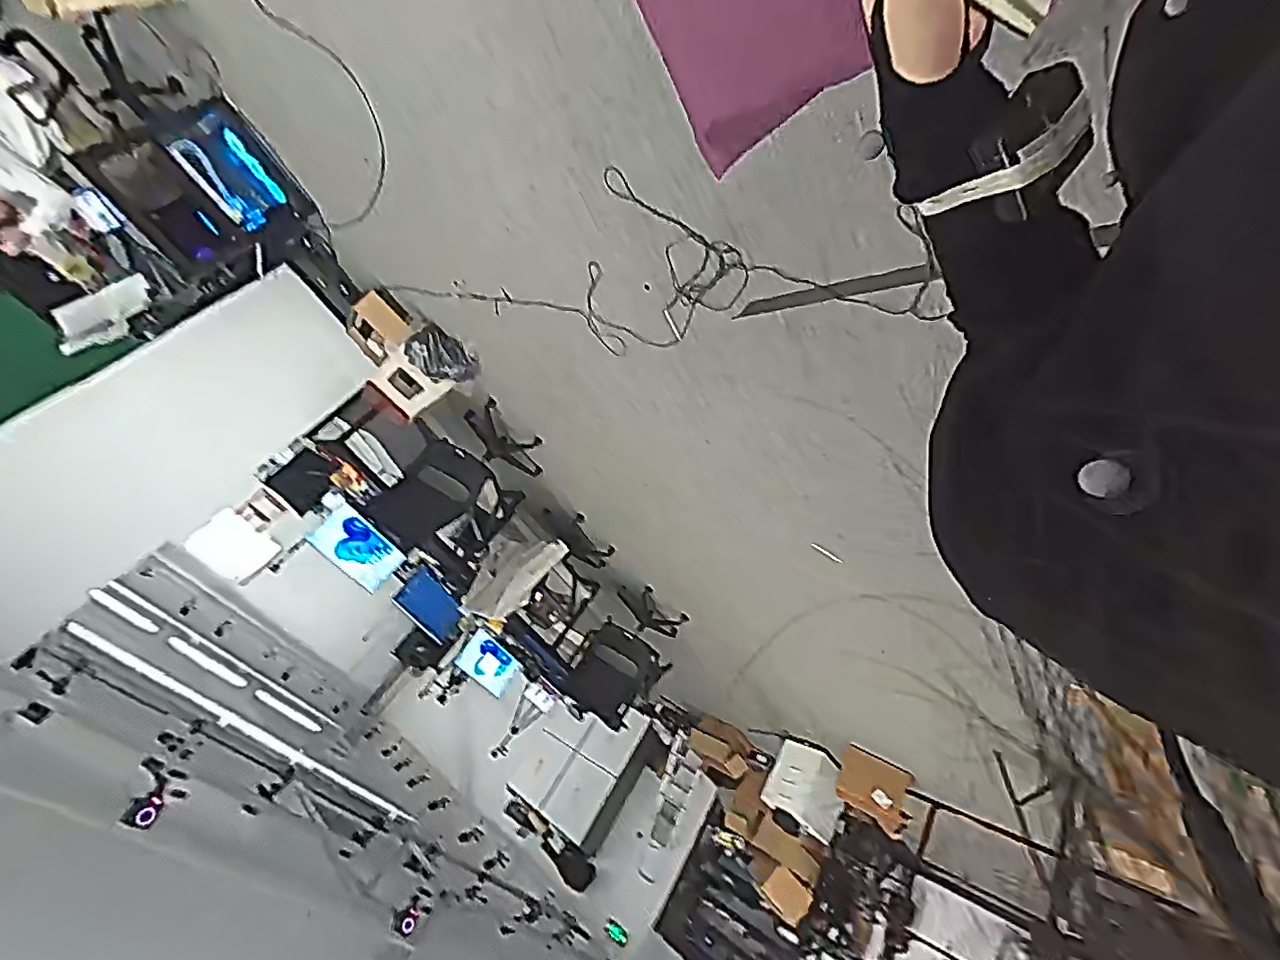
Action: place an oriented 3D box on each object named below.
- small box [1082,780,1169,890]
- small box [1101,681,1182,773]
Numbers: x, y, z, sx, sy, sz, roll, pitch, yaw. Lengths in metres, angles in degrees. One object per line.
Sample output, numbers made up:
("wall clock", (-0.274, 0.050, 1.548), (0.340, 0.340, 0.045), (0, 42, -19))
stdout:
("small box", (1.343, 0.974, 1.495), (0.168, 0.176, 0.179), (3, 137, 46))
("small box", (1.525, 0.742, 1.642), (0.168, 0.176, 0.179), (2, 137, 48))
